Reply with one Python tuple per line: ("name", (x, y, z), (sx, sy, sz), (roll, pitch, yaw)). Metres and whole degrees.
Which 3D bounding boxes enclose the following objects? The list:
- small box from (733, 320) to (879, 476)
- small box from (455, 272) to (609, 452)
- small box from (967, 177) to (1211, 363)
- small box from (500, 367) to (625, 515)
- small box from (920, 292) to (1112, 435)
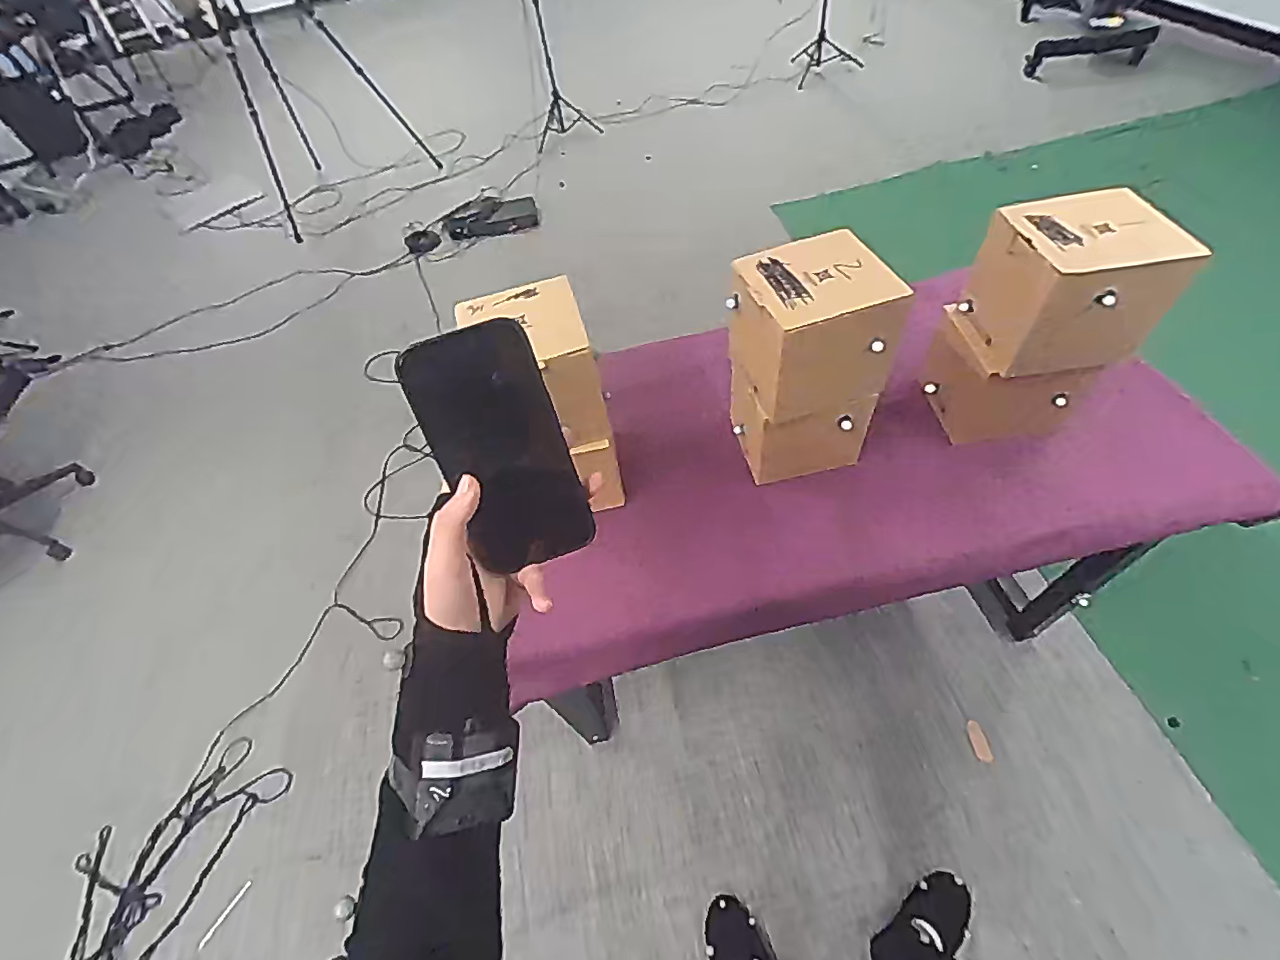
("small box", (0.258, -0.129, 0.888), (0.179, 0.176, 0.168), (-13, 53, 0))
("small box", (-0.150, -0.160, 0.776), (0.168, 0.176, 0.179), (-16, 54, -3))
("small box", (0.581, -0.280, 0.740), (0.179, 0.176, 0.168), (-8, 53, 3))
("small box", (-0.126, -0.057, 0.903), (0.168, 0.176, 0.179), (-12, 53, 1))
("small box", (0.592, -0.194, 0.879), (0.179, 0.176, 0.168), (-8, 53, 4))
